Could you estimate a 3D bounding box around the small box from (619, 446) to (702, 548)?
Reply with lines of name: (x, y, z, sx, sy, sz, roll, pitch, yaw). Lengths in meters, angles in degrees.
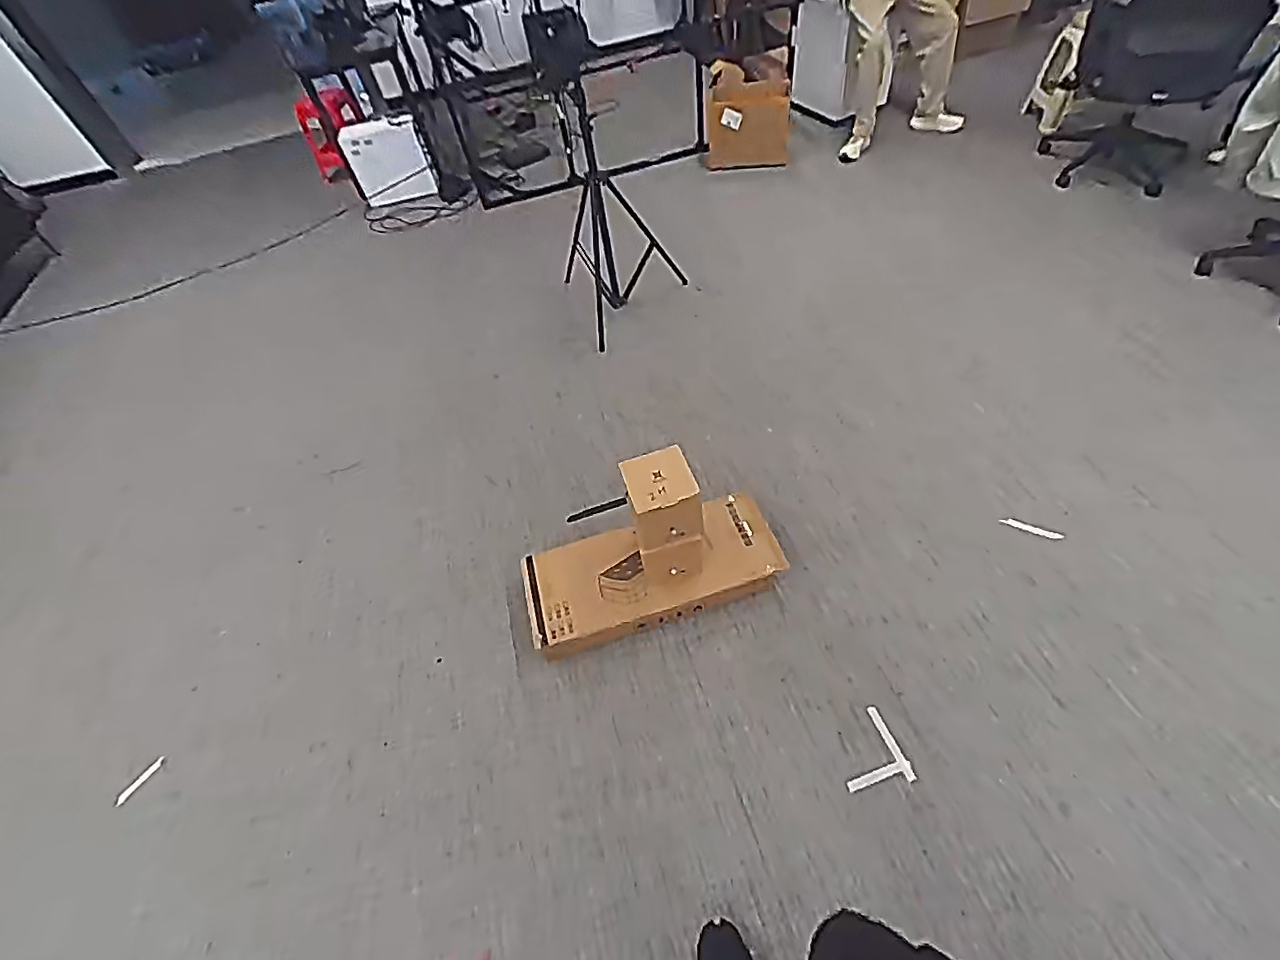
small box: (0.055, 0.045, 1.405, 0.168, 0.176, 0.179, -18, 51, -4)

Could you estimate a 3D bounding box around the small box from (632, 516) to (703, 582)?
small box: (0.074, 0.159, 1.524, 0.168, 0.176, 0.179, -15, 52, -2)
